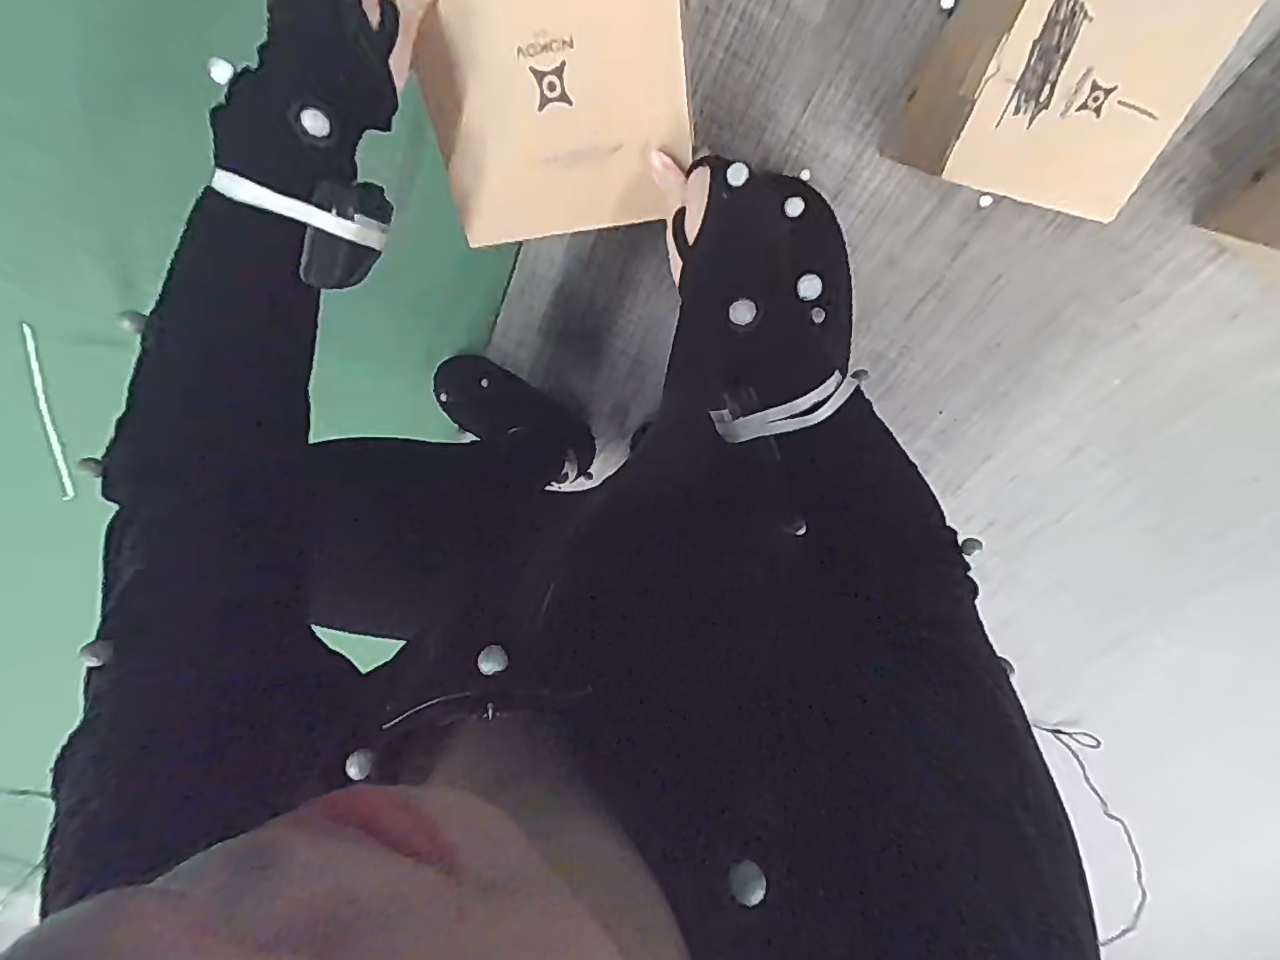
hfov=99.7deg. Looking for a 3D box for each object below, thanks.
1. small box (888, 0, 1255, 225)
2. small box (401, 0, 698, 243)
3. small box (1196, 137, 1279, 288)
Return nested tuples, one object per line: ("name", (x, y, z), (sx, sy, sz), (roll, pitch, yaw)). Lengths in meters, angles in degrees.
("small box", (0.371, -0.364, 0.514), (0.179, 0.176, 0.168), (11, 127, -5))
("small box", (-0.048, -0.294, 0.397), (0.168, 0.176, 0.179), (-4, 127, 8))
("small box", (0.758, -0.278, 0.550), (0.179, 0.176, 0.168), (22, 124, -12))
